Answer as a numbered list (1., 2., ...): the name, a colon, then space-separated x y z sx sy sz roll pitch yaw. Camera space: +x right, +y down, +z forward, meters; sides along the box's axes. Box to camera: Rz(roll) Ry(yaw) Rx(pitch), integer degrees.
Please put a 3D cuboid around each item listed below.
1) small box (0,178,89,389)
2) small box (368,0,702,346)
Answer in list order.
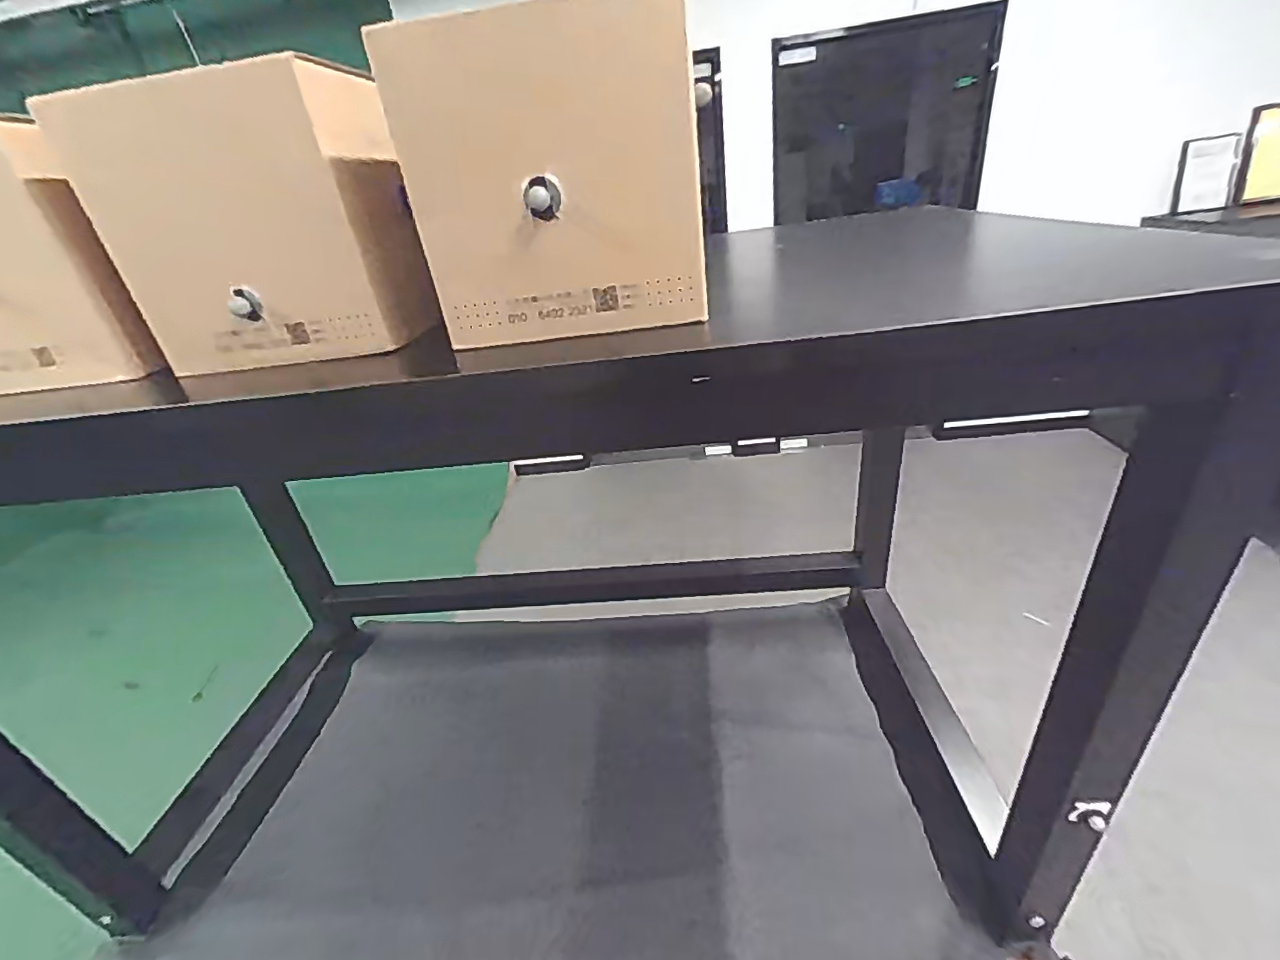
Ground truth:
1. small box: -0.646 -0.155 0.463 0.168 0.176 0.179 -5 29 5
2. small box: -0.047 -0.197 0.381 0.168 0.176 0.179 -5 28 5
